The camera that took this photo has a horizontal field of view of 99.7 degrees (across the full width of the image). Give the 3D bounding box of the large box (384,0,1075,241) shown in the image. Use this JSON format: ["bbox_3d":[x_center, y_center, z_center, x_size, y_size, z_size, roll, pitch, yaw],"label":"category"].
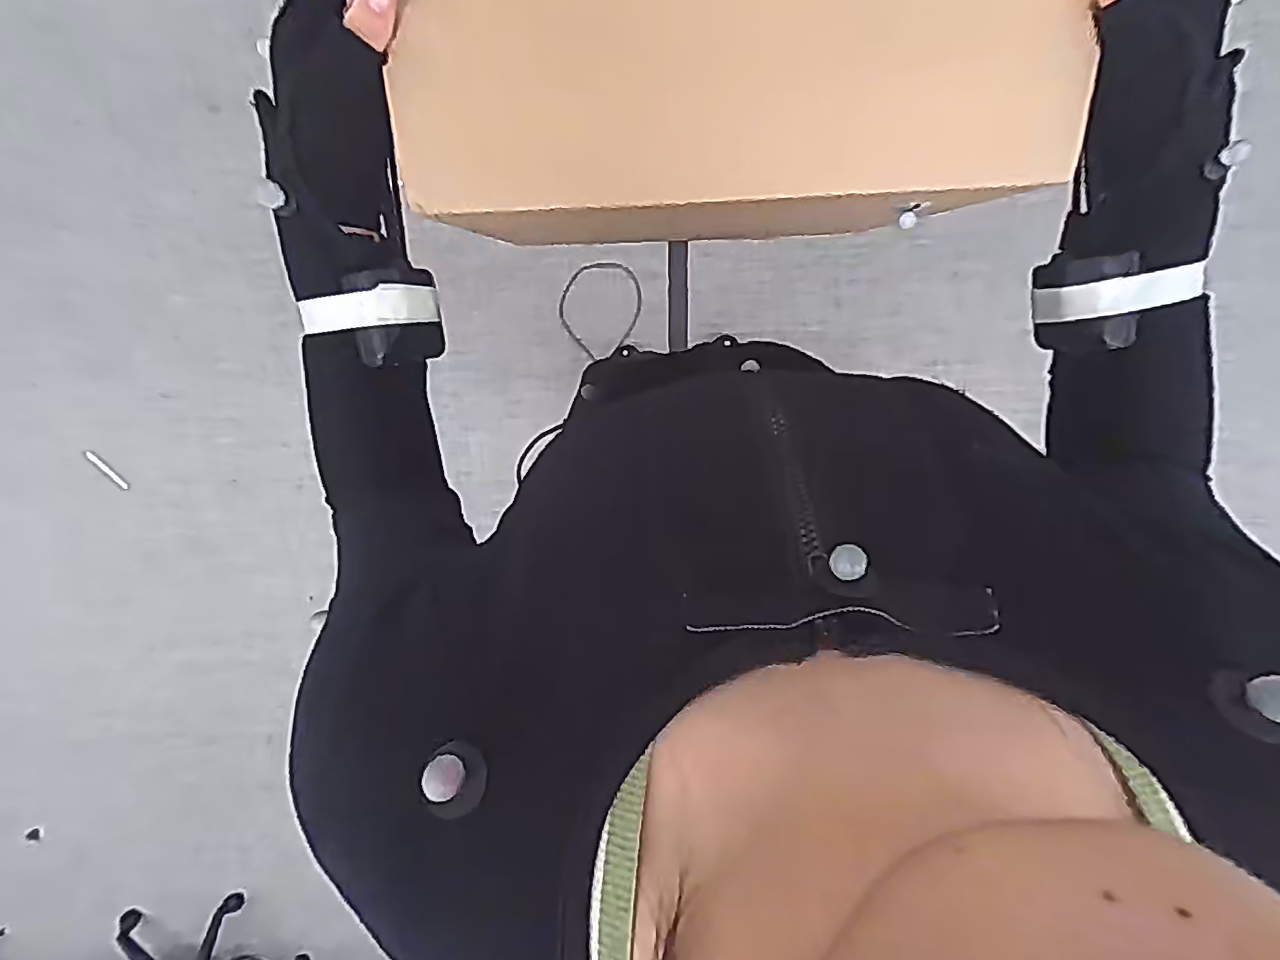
[{"bbox_3d":[0.050,-0.375,0.430,0.408,0.320,0.320,-3,110,0],"label":"large box"}]
